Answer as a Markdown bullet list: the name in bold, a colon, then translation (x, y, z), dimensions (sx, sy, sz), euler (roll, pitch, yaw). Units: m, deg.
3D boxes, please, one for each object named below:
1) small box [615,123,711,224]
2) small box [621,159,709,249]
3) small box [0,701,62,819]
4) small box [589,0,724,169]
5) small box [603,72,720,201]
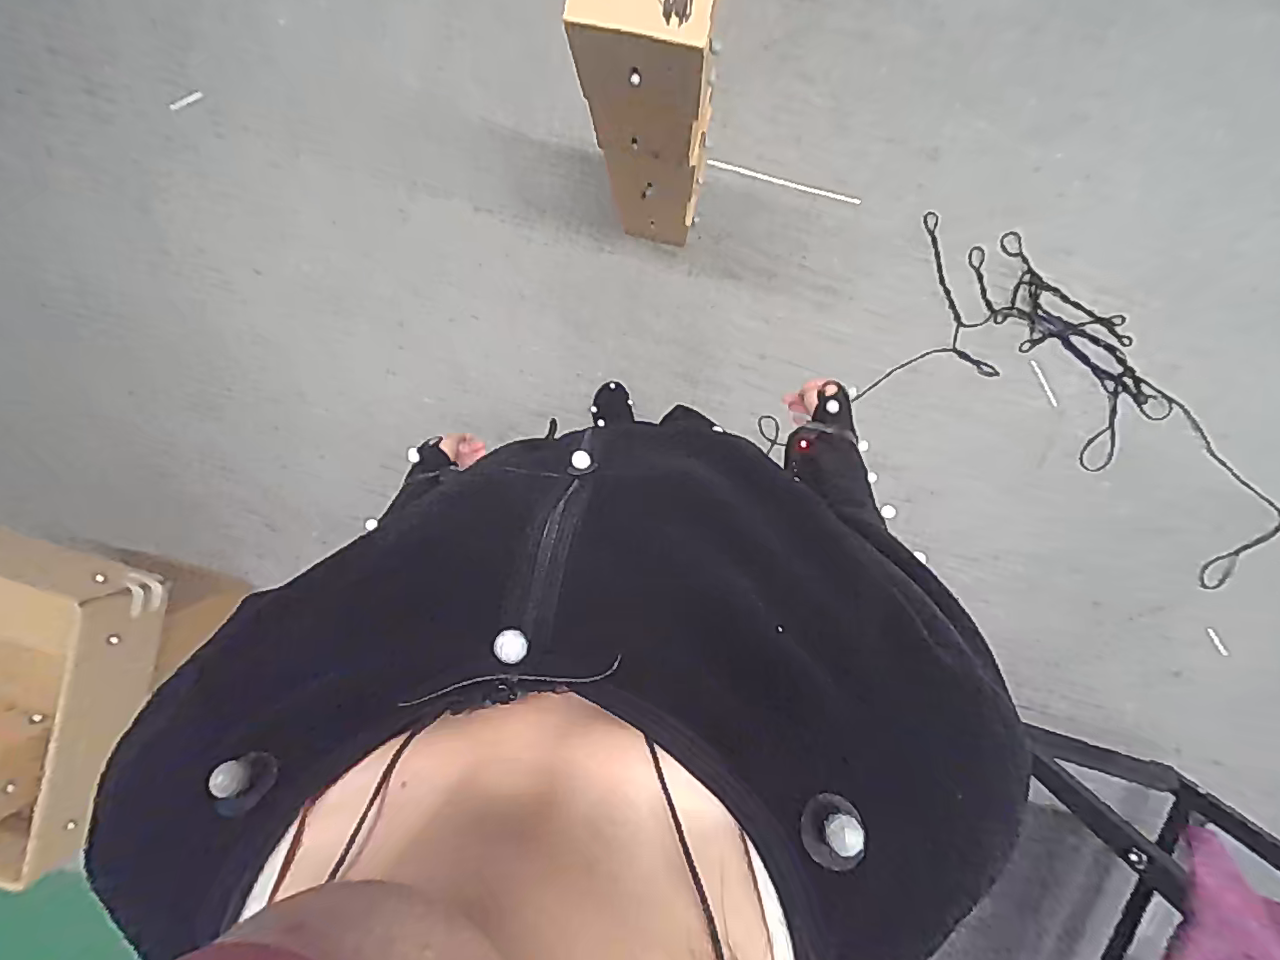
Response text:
- **small box**: translation (0.045, -0.687, 1.185), dimensions (0.179, 0.176, 0.168), euler (15, 97, 1)
- **small box**: translation (0.061, -0.699, 1.348), dimensions (0.179, 0.176, 0.168), euler (15, 96, 0)
- **small box**: translation (-1.332, 0.577, 1.082), dimensions (0.168, 0.176, 0.179), euler (18, 95, 0)
- **small box**: translation (0.026, -0.638, 0.863), dimensions (0.168, 0.176, 0.179), euler (13, 97, 2)
- **small box**: translation (0.039, -0.656, 1.024), dimensions (0.179, 0.176, 0.168), euler (13, 96, 0)
